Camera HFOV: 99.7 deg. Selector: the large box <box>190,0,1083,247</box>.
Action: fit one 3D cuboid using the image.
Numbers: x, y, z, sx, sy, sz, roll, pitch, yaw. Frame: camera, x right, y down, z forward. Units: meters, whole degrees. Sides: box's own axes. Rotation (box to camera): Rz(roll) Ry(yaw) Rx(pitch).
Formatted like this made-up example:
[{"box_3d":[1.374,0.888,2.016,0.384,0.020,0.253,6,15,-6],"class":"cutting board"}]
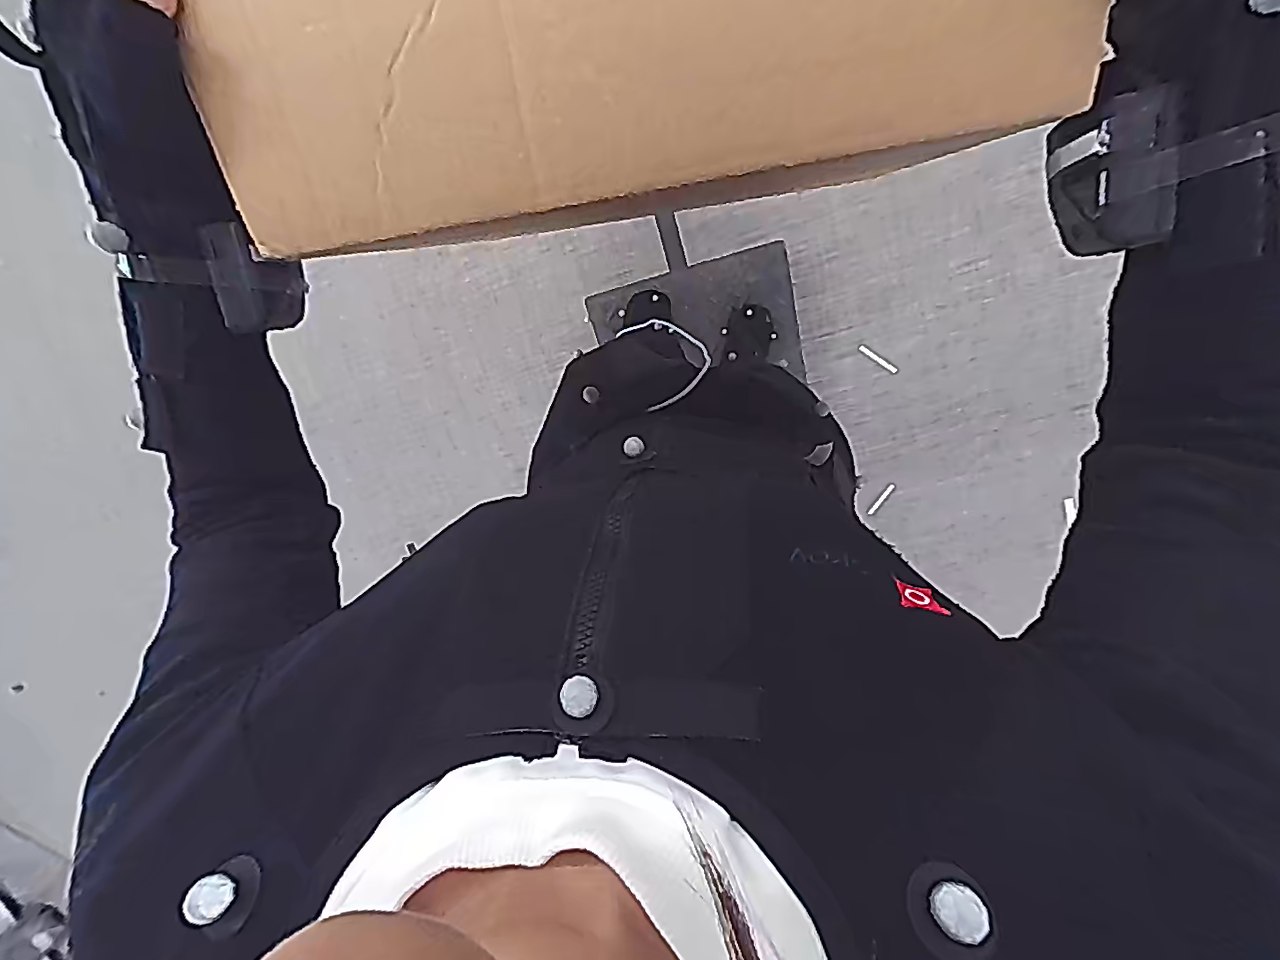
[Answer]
[{"box_3d":[-0.012,-0.351,0.345,0.408,0.320,0.320,-5,115,10],"class":"large box"}]
